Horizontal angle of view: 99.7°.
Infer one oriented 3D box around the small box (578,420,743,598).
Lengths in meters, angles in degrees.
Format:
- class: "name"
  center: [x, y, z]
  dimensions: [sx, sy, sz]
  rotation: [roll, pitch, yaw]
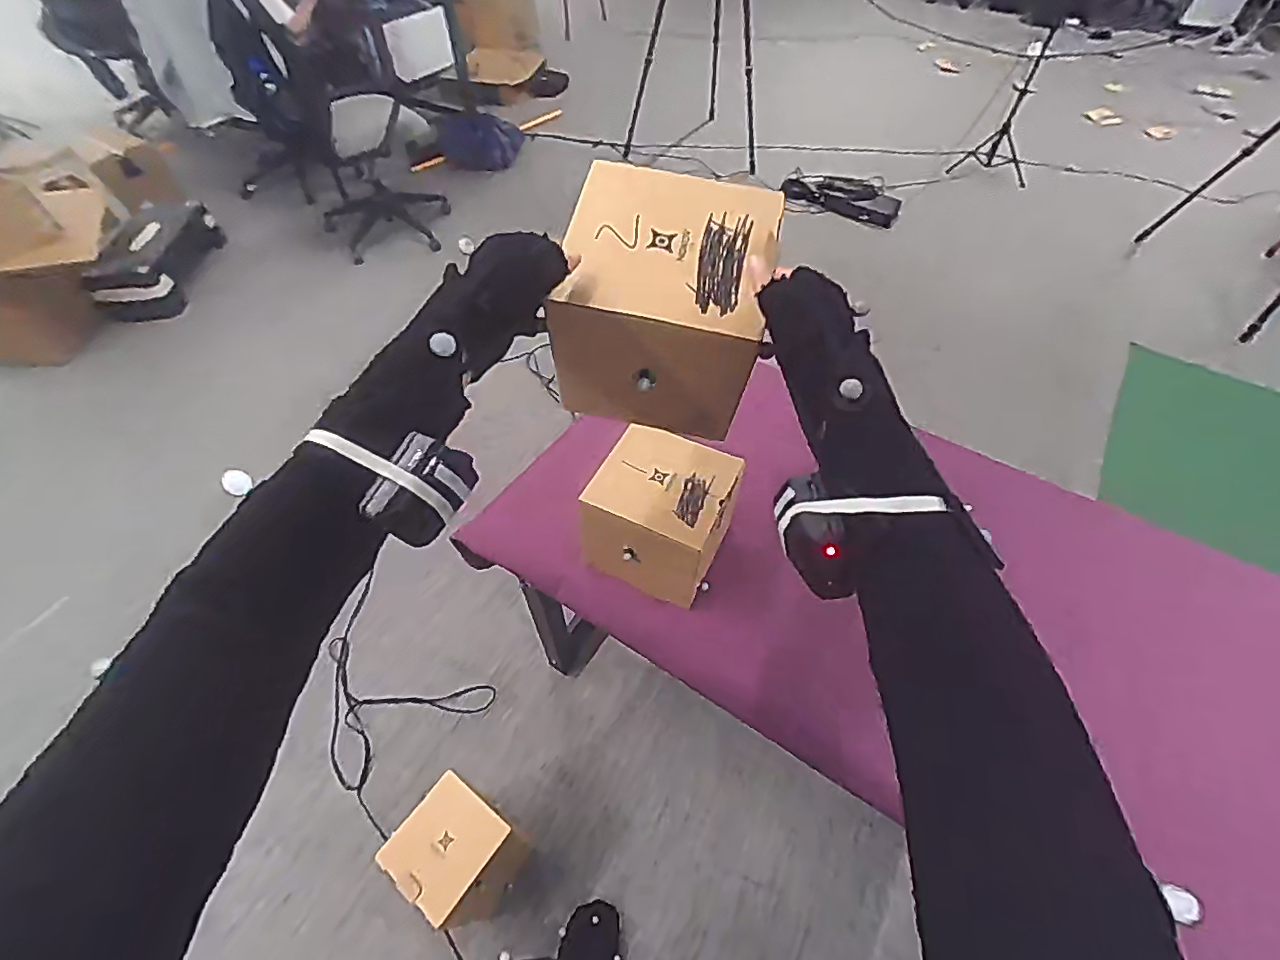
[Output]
- class: "small box"
  center: [0.028, 0.048, 0.791]
  dimensions: [0.179, 0.176, 0.168]
  rotation: [23, 55, 15]
